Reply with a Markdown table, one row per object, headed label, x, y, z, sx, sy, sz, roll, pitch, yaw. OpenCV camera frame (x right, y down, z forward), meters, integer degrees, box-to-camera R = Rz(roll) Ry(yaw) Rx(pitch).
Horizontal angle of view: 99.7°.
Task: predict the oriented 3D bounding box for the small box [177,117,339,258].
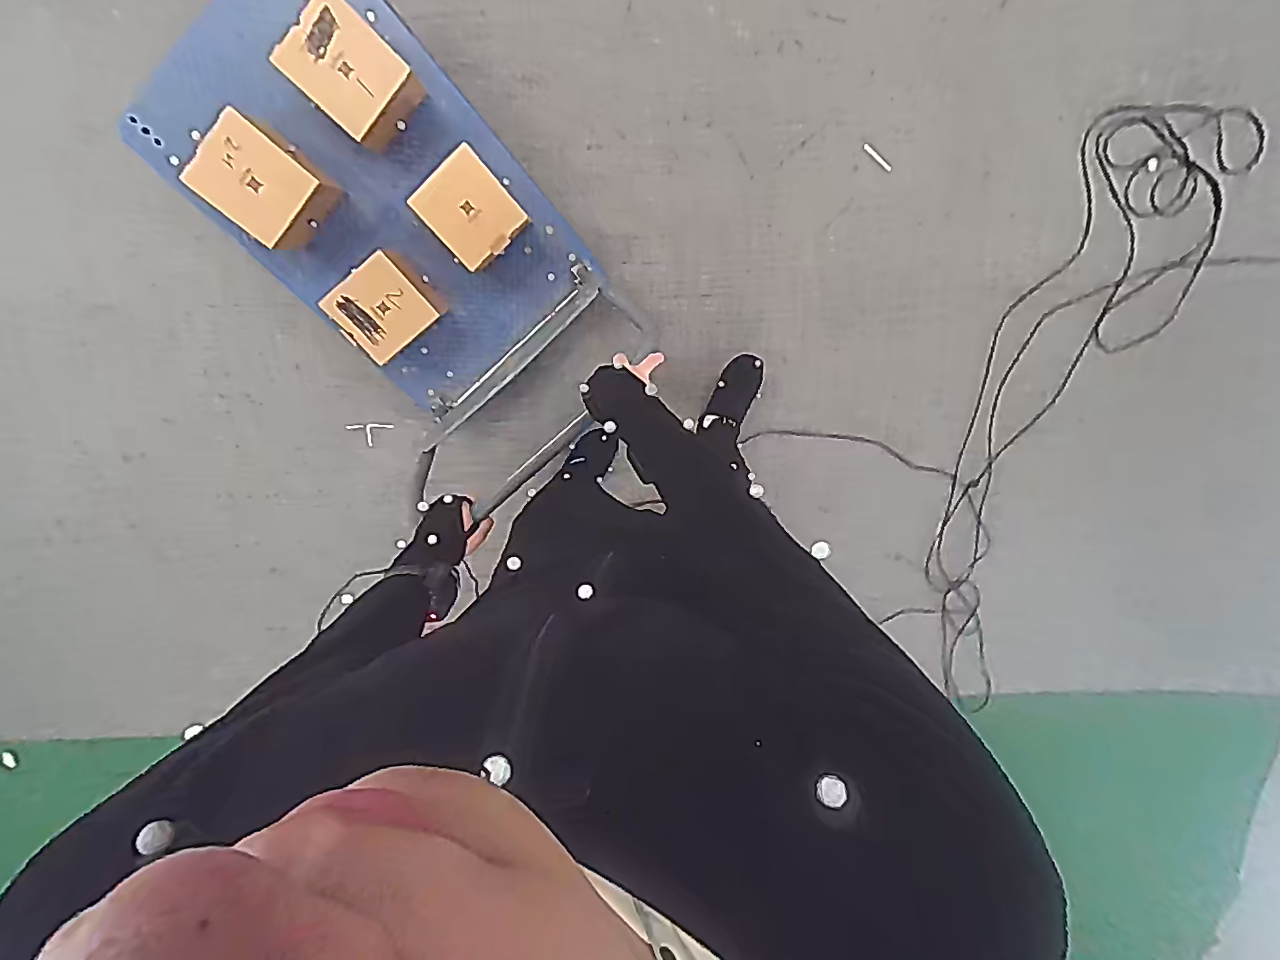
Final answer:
| label | x | y | z | sx | sy | sz | roll | pitch | yaw |
| --- | --- | --- | --- | --- | --- | --- | --- | --- | --- |
| small box | -0.738 | -0.568 | 1.069 | 0.179 | 0.176 | 0.168 | 40 | 99 | -24 |

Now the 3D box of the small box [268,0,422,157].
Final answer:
| label | x | y | z | sx | sy | sz | roll | pitch | yaw |
| --- | --- | --- | --- | --- | --- | --- | --- | --- | --- |
| small box | -0.547 | -0.753 | 1.029 | 0.179 | 0.176 | 0.168 | 40 | 101 | -24 |

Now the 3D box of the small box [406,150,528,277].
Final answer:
| label | x | y | z | sx | sy | sz | roll | pitch | yaw |
| --- | --- | --- | --- | --- | --- | --- | --- | --- | --- |
| small box | -0.361 | -0.559 | 1.154 | 0.168 | 0.176 | 0.179 | -41 | 116 | 7 |
